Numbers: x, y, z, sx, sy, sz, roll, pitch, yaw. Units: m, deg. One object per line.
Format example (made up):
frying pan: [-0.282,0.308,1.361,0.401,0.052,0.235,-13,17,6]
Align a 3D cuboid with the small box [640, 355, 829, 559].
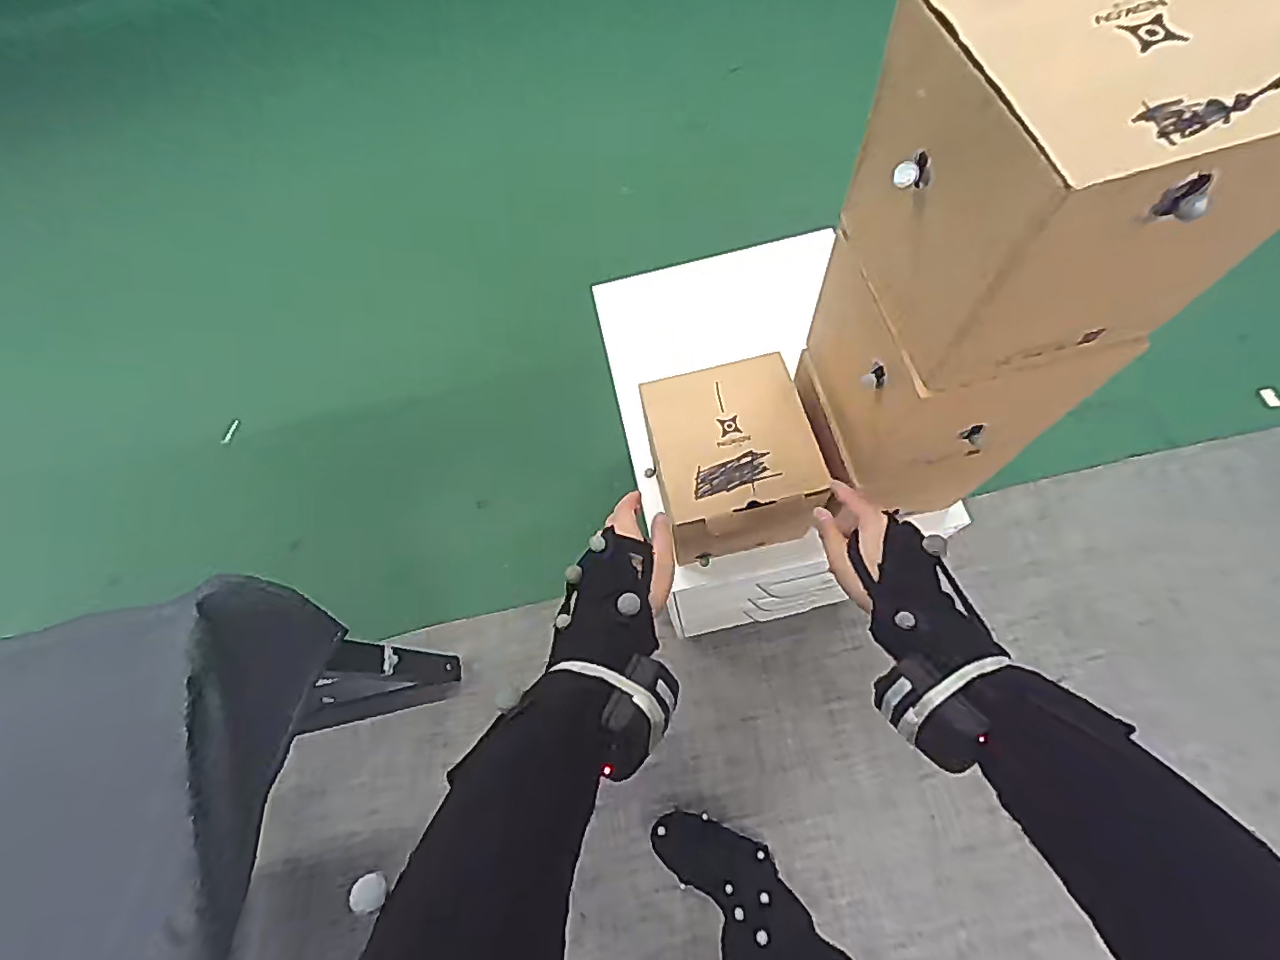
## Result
small box: [0.102,-0.015,0.641,0.168,0.176,0.179,-12,66,0]

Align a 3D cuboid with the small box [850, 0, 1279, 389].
small box: [0.255,-0.187,0.339,0.168,0.176,0.179,-14,66,1]

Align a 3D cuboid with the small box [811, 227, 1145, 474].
small box: [0.270,-0.117,0.487,0.168,0.176,0.179,-12,67,1]
